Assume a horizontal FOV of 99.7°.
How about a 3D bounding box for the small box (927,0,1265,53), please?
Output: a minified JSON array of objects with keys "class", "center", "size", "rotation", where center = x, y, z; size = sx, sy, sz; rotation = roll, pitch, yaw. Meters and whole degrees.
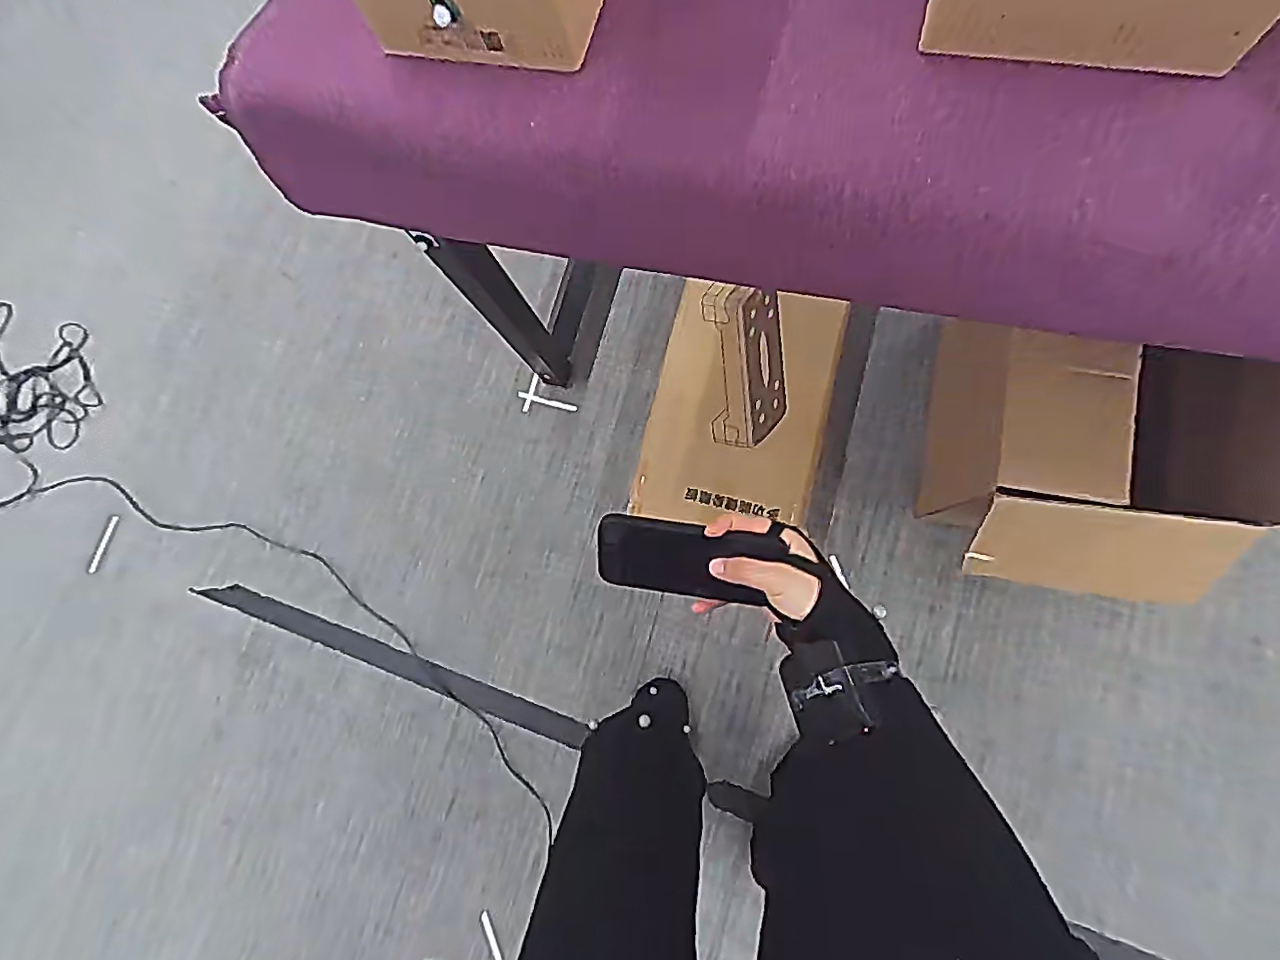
[{"class":"small box","center":[0.276,-0.359,0.268],"size":[0.179,0.176,0.168],"rotation":[13,80,11]}]
